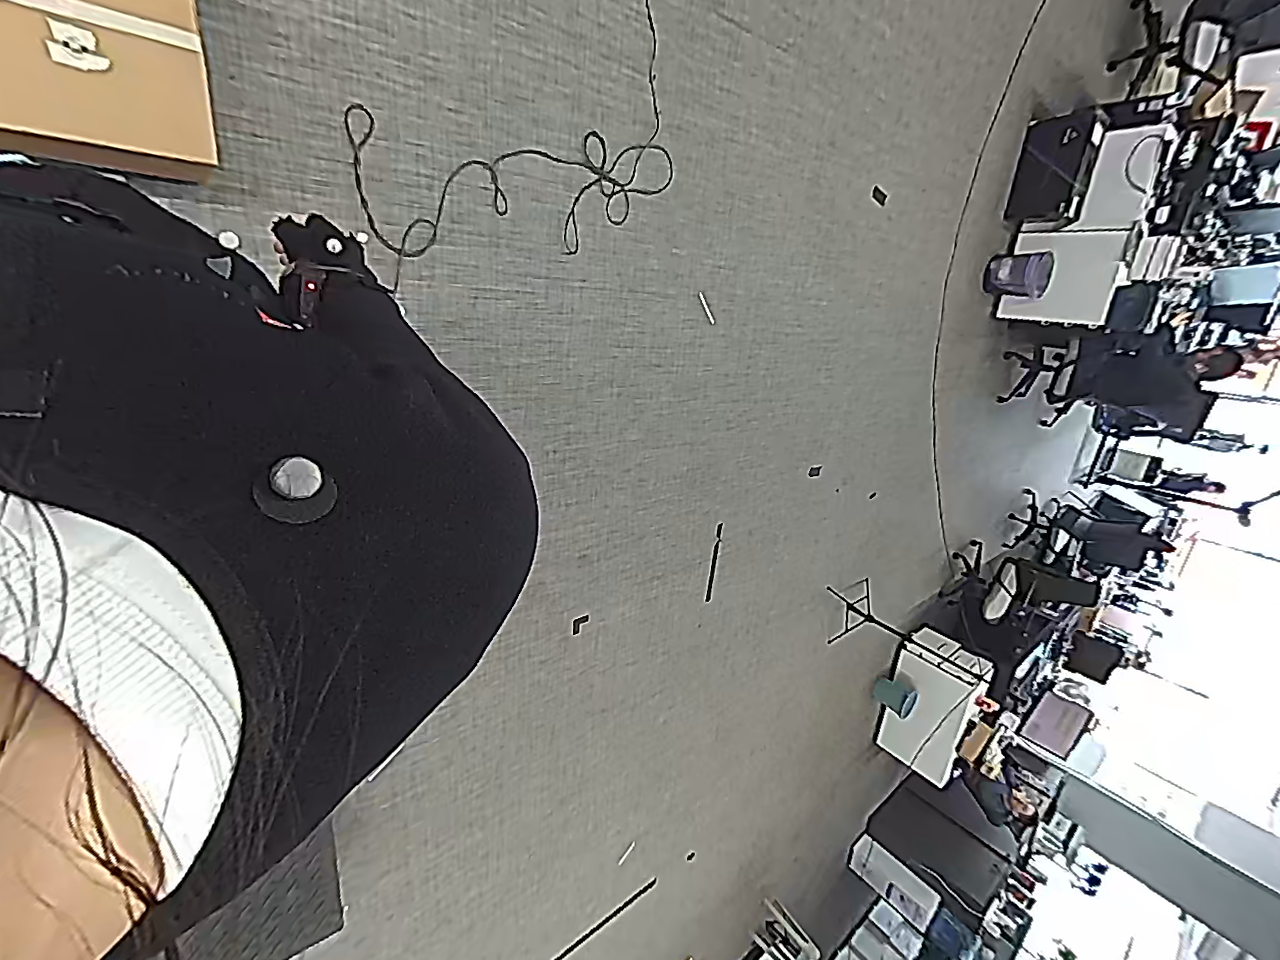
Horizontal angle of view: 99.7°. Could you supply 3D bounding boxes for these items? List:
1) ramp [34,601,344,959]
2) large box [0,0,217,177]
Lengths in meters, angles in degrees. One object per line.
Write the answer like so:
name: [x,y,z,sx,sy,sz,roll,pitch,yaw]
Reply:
ramp: [-1.053,0.827,1.336,0.509,0.206,0.991,-10,113,-37]
large box: [-0.893,-0.654,0.772,0.408,0.320,0.320,-11,115,-39]
